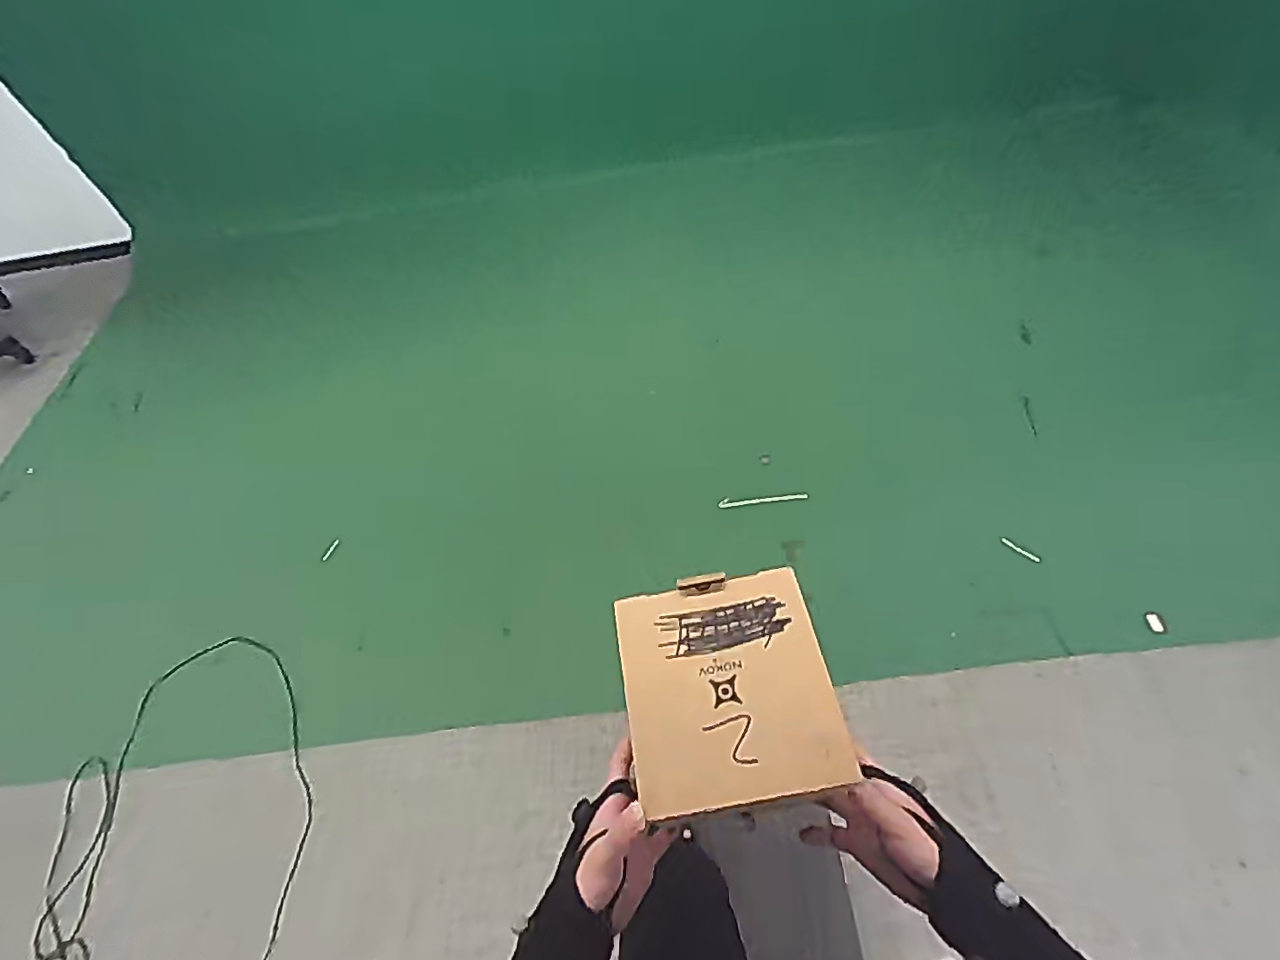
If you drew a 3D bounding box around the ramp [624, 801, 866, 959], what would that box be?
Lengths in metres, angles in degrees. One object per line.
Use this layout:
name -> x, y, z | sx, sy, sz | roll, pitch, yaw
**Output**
ramp -> 0.264, 1.232, 1.067 | 0.509, 0.206, 0.991 | -9, 56, 0
